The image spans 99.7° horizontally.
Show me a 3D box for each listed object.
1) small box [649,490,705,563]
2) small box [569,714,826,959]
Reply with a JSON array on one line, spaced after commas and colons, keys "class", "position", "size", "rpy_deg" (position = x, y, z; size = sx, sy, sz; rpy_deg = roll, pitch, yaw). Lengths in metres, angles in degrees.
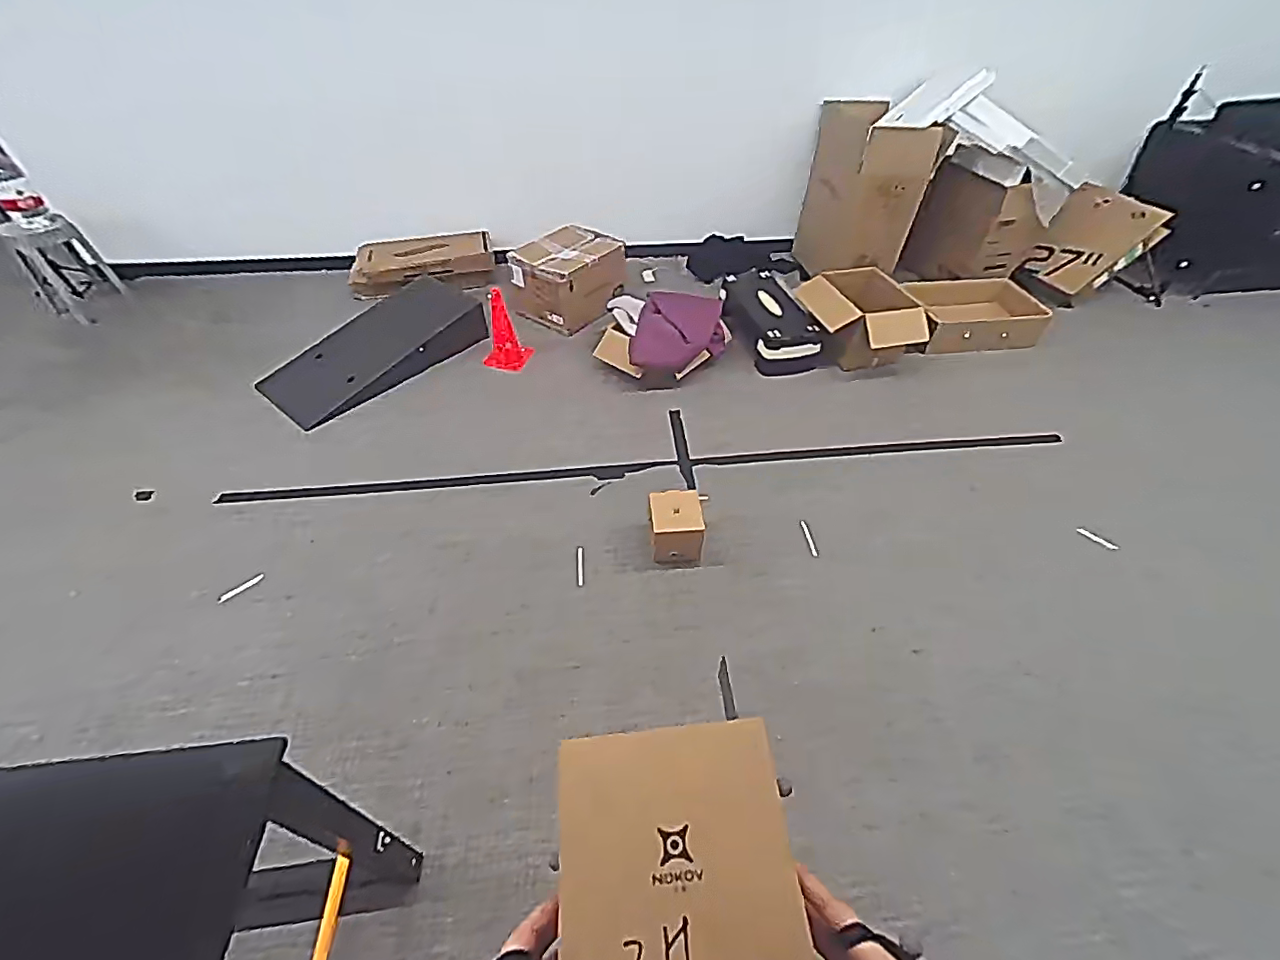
[{"class": "small box", "position": [0.118, 0.157, 1.820], "size": [0.168, 0.176, 0.179], "rpy_deg": [-4, 47, -3]}, {"class": "small box", "position": [0.037, 0.313, 0.440], "size": [0.168, 0.176, 0.179], "rpy_deg": [-7, 51, 1]}]
